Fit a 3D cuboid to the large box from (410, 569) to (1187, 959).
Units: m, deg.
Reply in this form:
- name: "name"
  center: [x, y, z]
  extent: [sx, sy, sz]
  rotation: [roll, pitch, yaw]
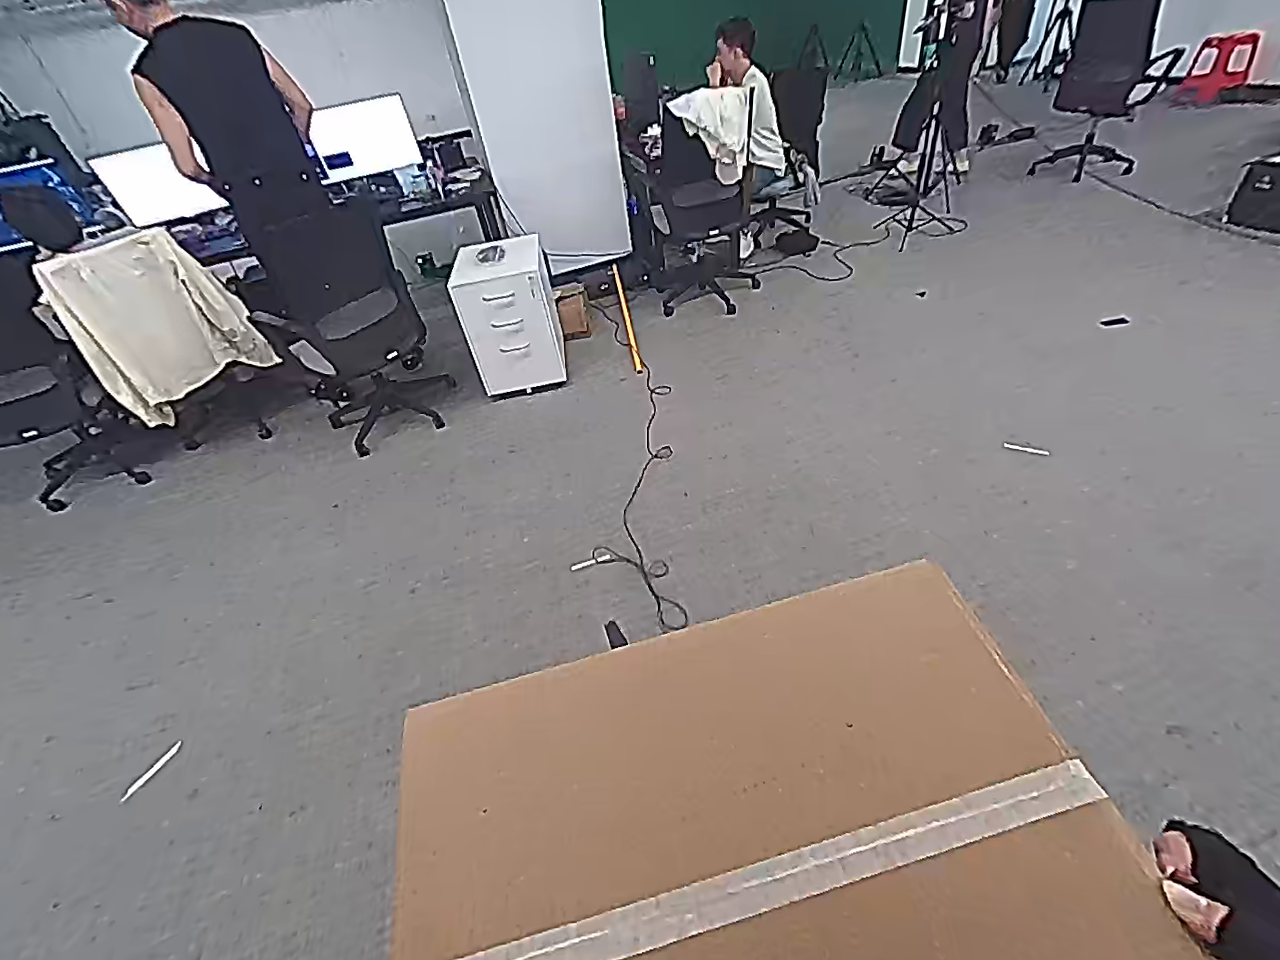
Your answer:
- name: "large box"
  center: [0.084, 0.326, 0.425]
  extent: [0.408, 0.320, 0.320]
  rotation: [-16, 48, -2]
